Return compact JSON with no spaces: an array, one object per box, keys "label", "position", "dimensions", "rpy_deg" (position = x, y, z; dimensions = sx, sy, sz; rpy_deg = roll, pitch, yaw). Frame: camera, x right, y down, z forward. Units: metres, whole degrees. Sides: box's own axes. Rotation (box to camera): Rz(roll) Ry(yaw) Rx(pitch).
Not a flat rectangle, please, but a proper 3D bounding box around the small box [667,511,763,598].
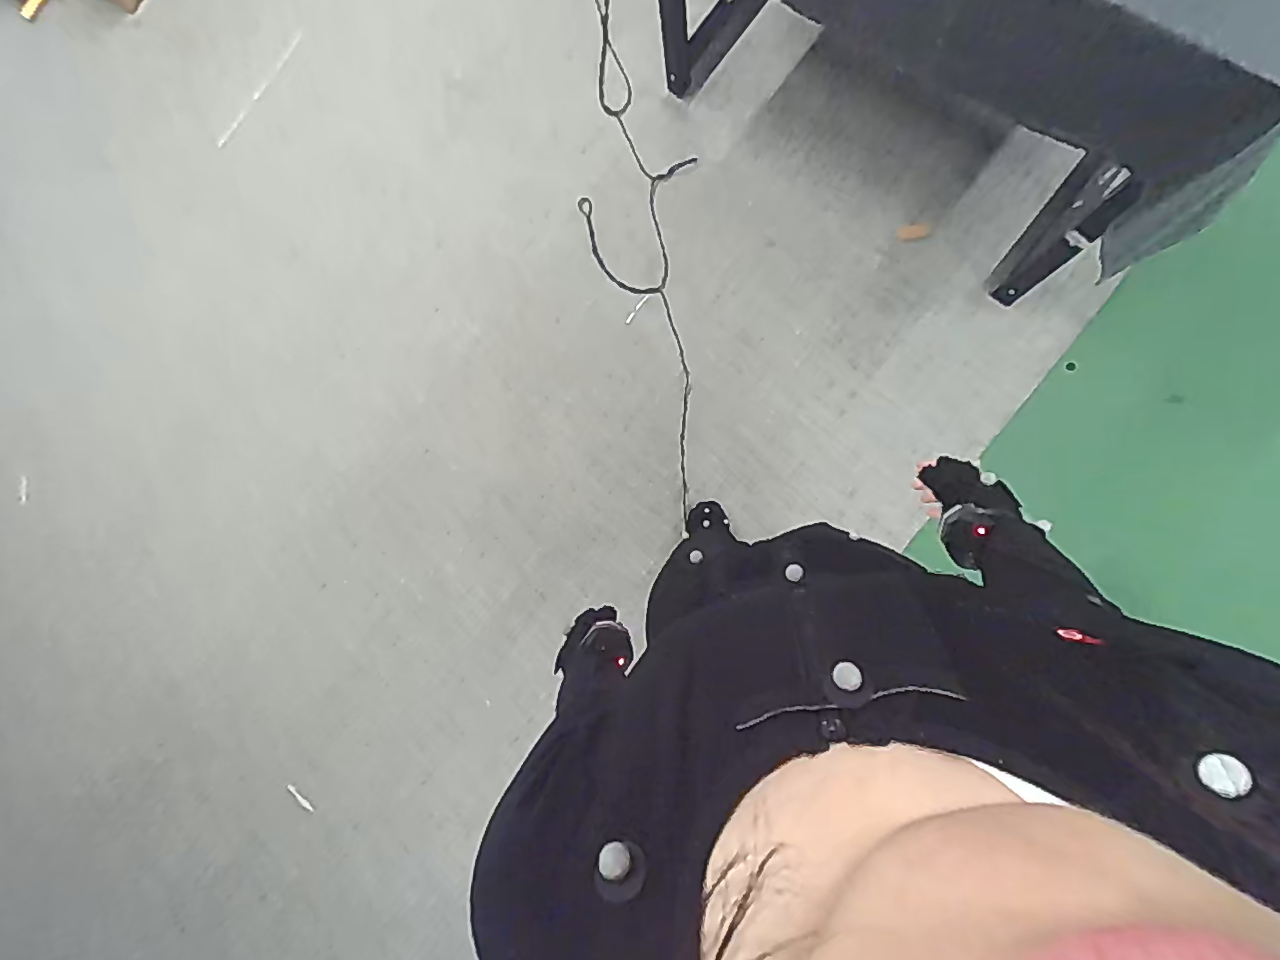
[{"label":"small box","position":[0.191,0.191,1.418],"dimensions":[0.179,0.176,0.168],"rpy_deg":[33,100,27]}]
